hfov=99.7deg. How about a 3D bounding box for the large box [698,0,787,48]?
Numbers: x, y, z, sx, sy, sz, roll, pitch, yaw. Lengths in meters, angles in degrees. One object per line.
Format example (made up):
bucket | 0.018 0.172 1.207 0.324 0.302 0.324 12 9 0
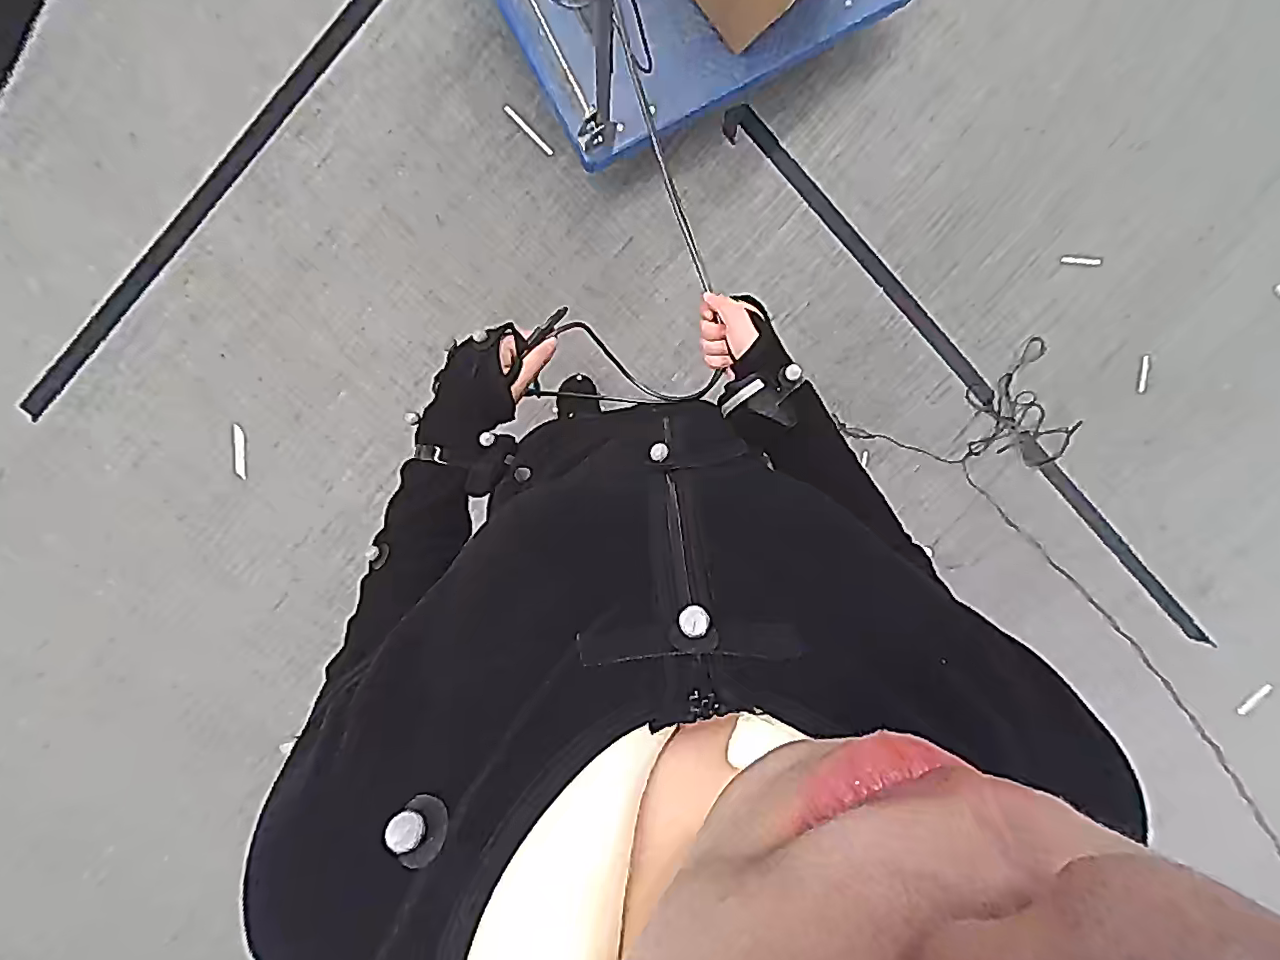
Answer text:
large box | 0.200 -1.153 0.990 0.320 0.320 0.408 -43 102 3
